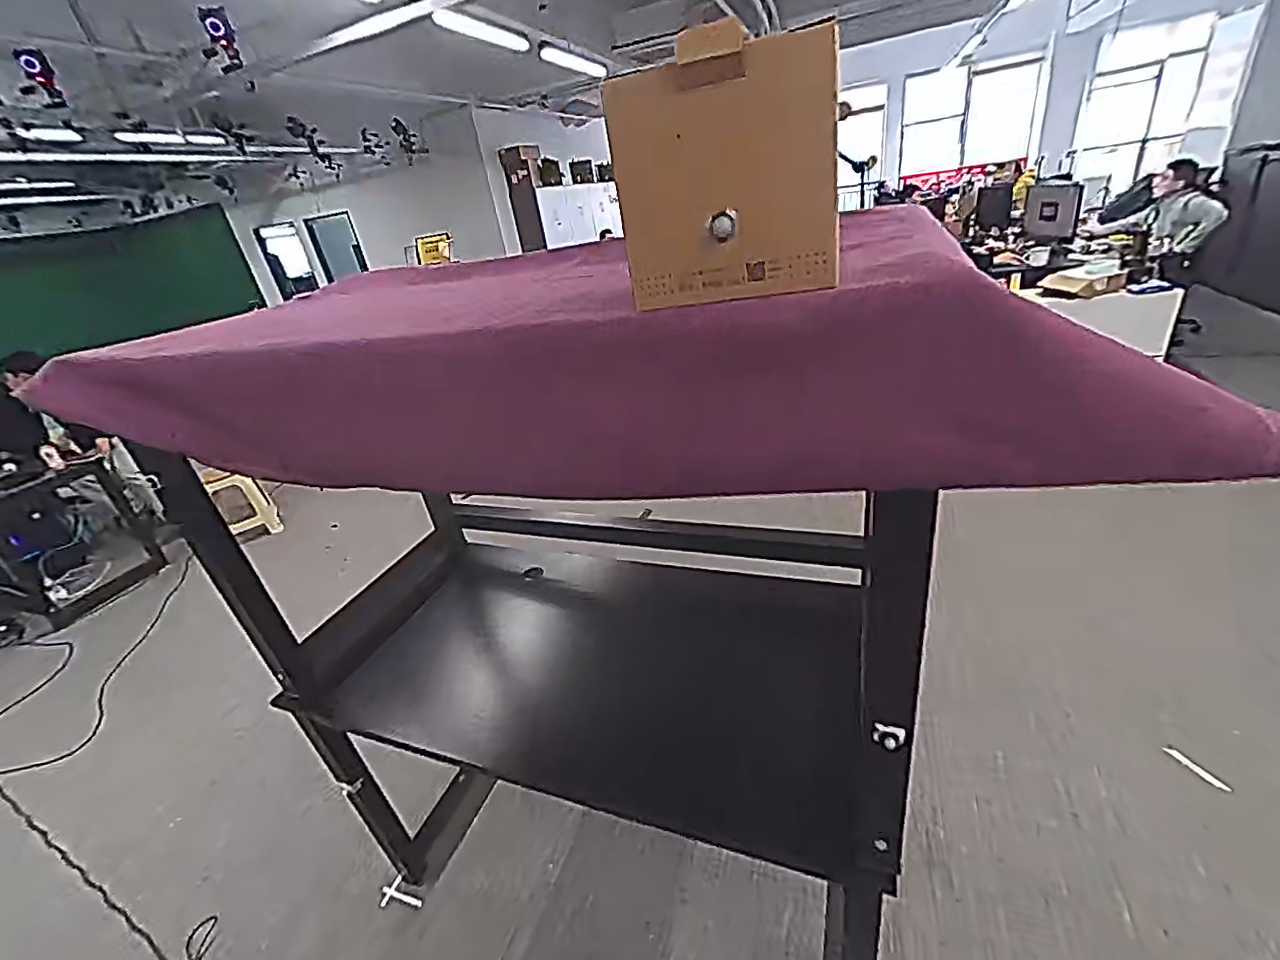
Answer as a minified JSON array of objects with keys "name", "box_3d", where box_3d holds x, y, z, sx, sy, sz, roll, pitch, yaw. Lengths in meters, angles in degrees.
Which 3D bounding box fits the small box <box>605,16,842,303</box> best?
[{"name":"small box","box_3d":[0.084,-0.259,0.473,0.168,0.176,0.179,-2,27,18]}]
